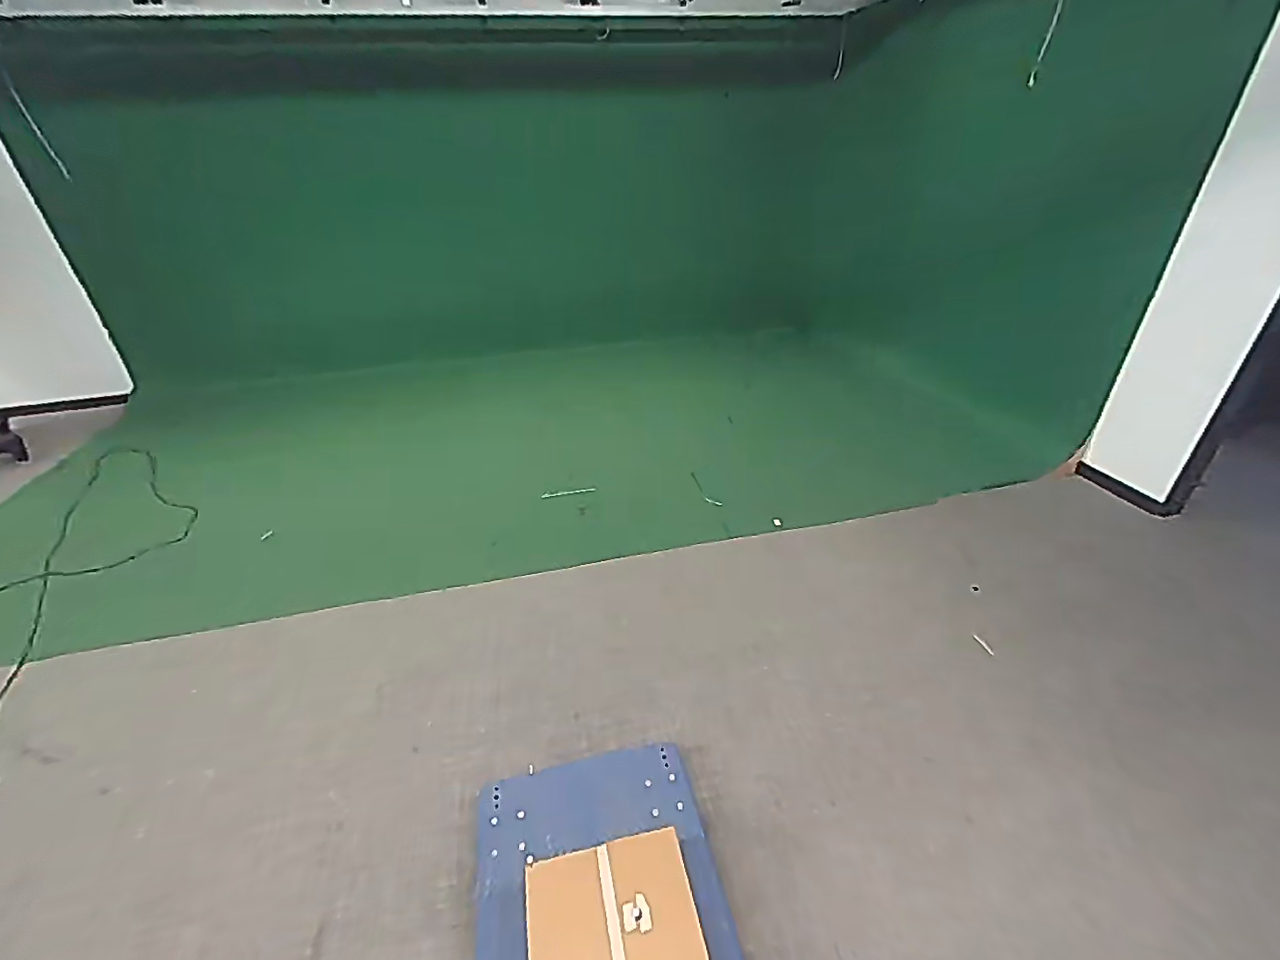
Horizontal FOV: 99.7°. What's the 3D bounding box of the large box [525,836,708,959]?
[{"bbox_3d":[-0.026,0.989,1.009,0.320,0.320,0.408,-8,30,-11],"label":"large box"}]
